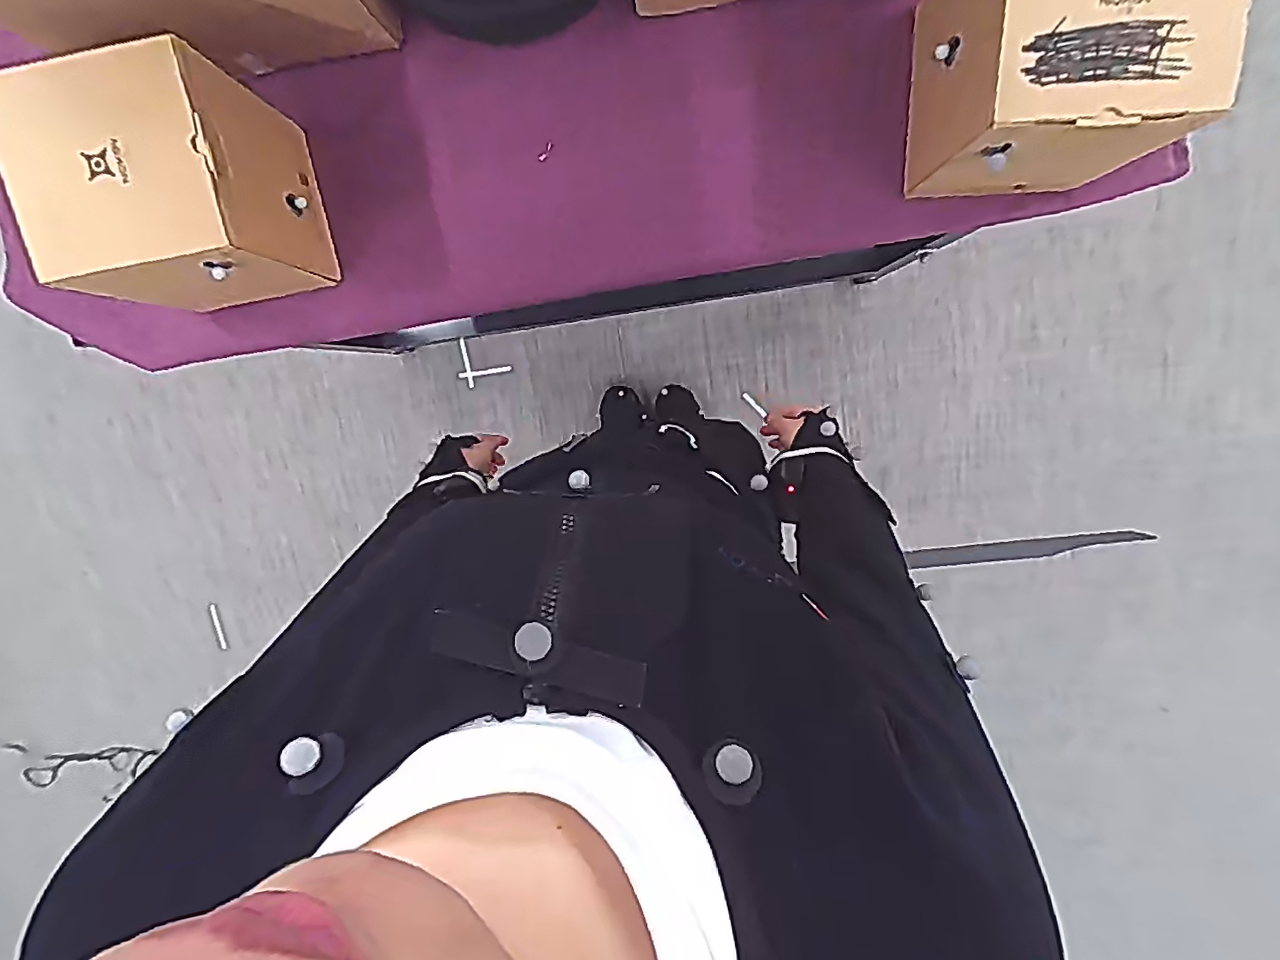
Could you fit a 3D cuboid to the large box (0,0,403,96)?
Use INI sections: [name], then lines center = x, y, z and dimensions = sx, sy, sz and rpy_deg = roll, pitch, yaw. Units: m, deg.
[large box]
center = -0.433, -0.599, 0.402
dimensions = 0.320, 0.320, 0.408
rpy_deg = -7, 103, 5
